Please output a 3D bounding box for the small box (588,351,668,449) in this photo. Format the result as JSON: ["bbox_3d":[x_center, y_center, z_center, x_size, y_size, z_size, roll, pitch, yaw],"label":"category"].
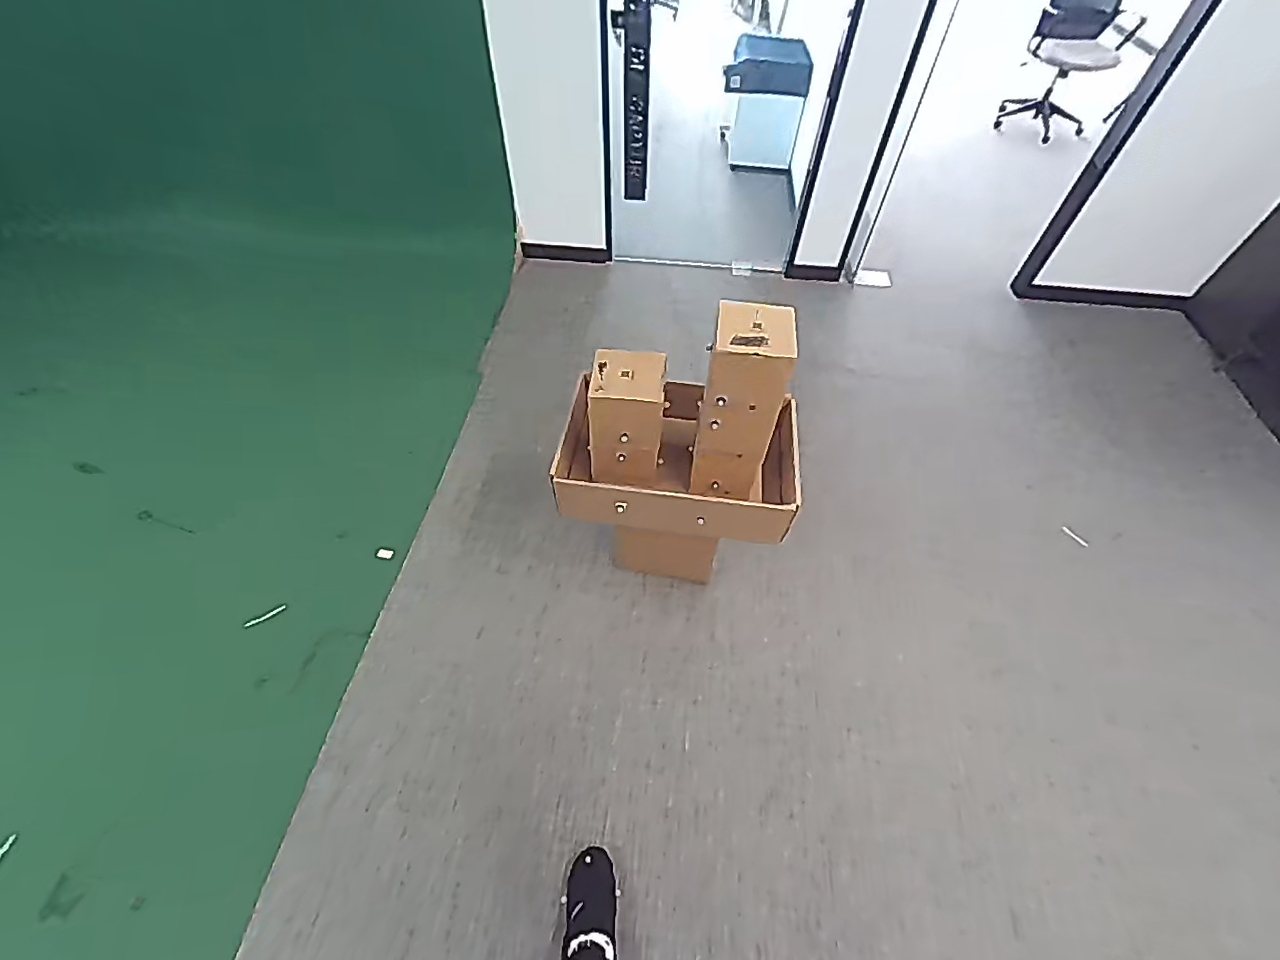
[{"bbox_3d":[-0.030,-0.192,1.334,0.179,0.176,0.168,5,53,1],"label":"small box"}]

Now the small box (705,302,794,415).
[{"bbox_3d":[0.237,-0.264,1.192,0.168,0.176,0.179,7,52,3],"label":"small box"}]

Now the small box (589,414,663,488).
[{"bbox_3d":[-0.036,-0.094,1.465,0.179,0.176,0.168,7,53,1],"label":"small box"}]
